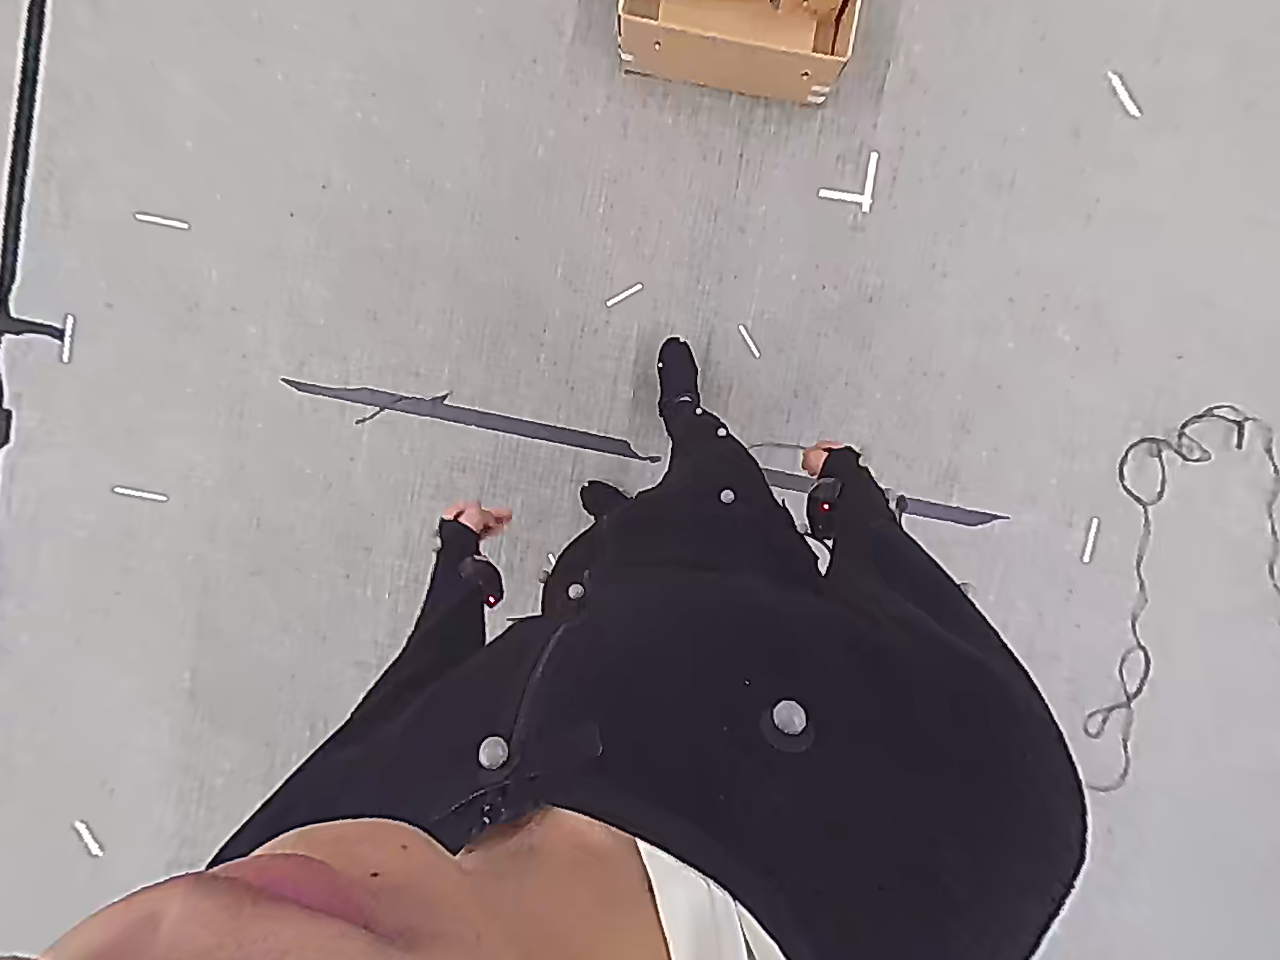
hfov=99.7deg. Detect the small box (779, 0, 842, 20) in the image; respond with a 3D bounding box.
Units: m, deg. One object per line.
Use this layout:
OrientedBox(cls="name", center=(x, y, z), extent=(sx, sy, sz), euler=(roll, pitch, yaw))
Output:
OrientedBox(cls="small box", center=(0.480, -1.384, 1.430), extent=(0.168, 0.176, 0.179), euler=(10, 96, -1))
